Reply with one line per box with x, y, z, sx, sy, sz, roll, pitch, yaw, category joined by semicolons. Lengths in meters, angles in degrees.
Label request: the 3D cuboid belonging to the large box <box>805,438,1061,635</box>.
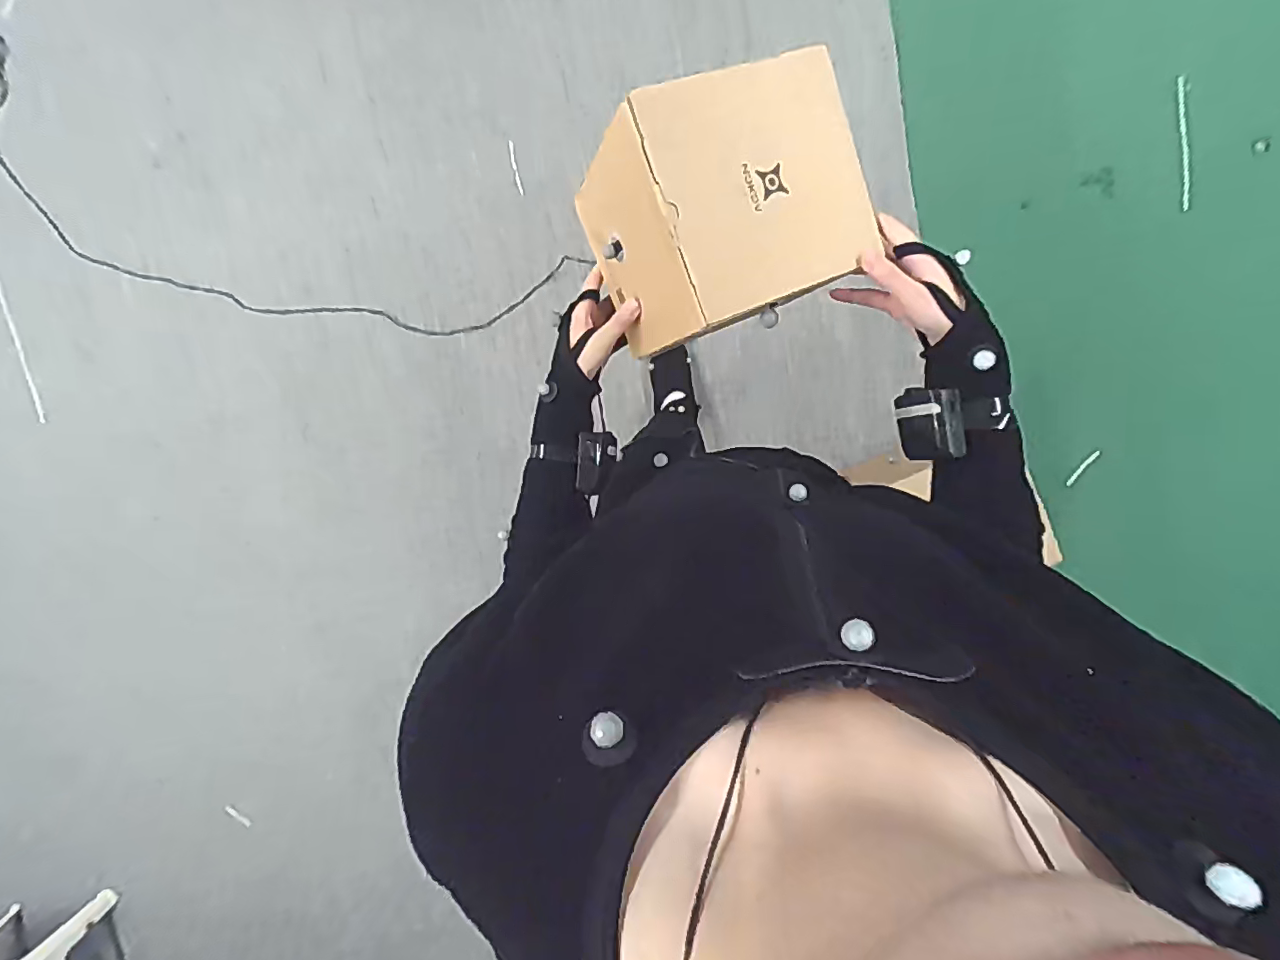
0.683;0.116;1.331;0.408;0.320;0.320;-24;95;4;large box

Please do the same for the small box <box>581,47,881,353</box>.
0.068;-0.226;0.477;0.179;0.176;0.168;-24;101;-14;small box
